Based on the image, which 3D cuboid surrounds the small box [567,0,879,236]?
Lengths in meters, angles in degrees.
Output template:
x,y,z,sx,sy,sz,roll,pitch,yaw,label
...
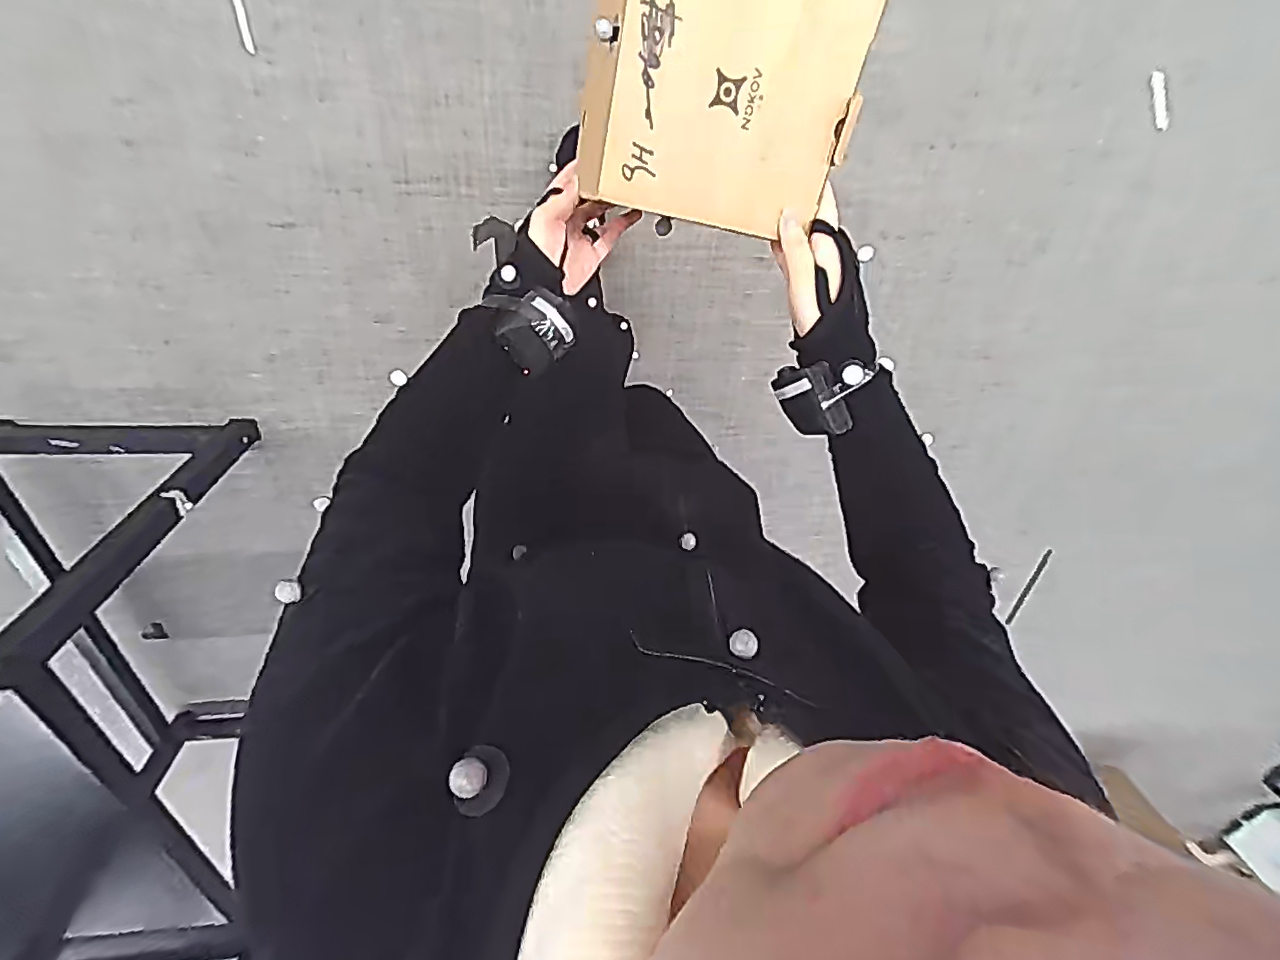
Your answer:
x,y,z,sx,sy,sz,roll,pitch,yaw,label
0.046,-0.311,0.438,0.179,0.176,0.168,5,116,-17,small box
